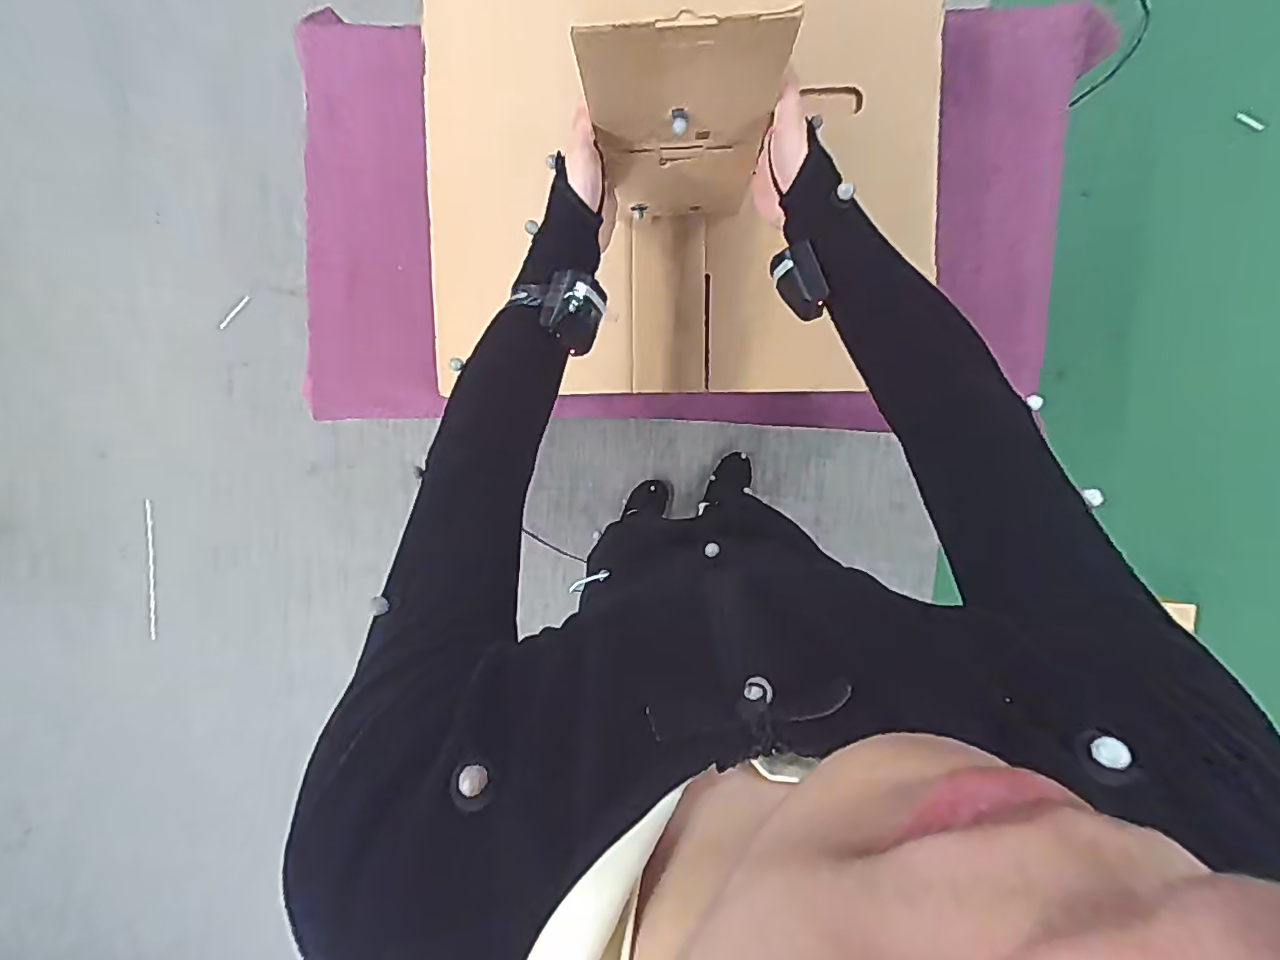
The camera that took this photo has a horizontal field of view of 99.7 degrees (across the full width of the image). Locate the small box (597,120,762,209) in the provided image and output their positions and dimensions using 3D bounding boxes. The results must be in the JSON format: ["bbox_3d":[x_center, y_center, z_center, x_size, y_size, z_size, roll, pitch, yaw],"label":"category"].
[{"bbox_3d":[0.043,-0.422,0.608,0.168,0.176,0.179,-1,94,3],"label":"small box"}]

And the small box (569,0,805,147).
[{"bbox_3d":[0.034,-0.410,0.444,0.168,0.176,0.179,-1,96,3],"label":"small box"}]

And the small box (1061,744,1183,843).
[{"bbox_3d":[1.343,0.871,1.517,0.179,0.176,0.168,7,95,5],"label":"small box"}]
